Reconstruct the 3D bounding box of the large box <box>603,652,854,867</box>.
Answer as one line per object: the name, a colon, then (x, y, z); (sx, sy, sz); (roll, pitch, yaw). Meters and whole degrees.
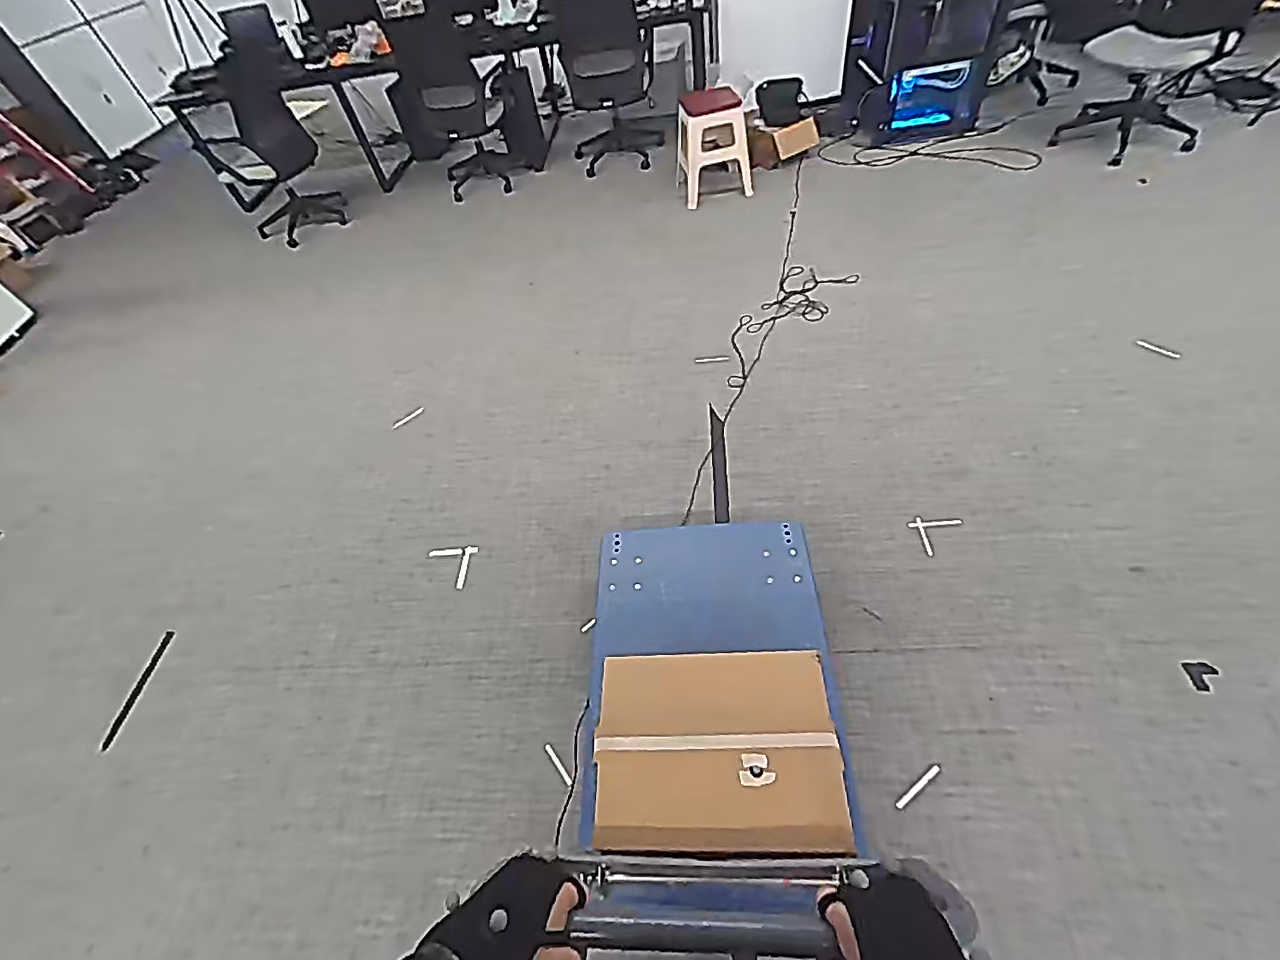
large box: (0.152, 0.552, 1.055); (0.408, 0.320, 0.320); (-4, 51, 6)
